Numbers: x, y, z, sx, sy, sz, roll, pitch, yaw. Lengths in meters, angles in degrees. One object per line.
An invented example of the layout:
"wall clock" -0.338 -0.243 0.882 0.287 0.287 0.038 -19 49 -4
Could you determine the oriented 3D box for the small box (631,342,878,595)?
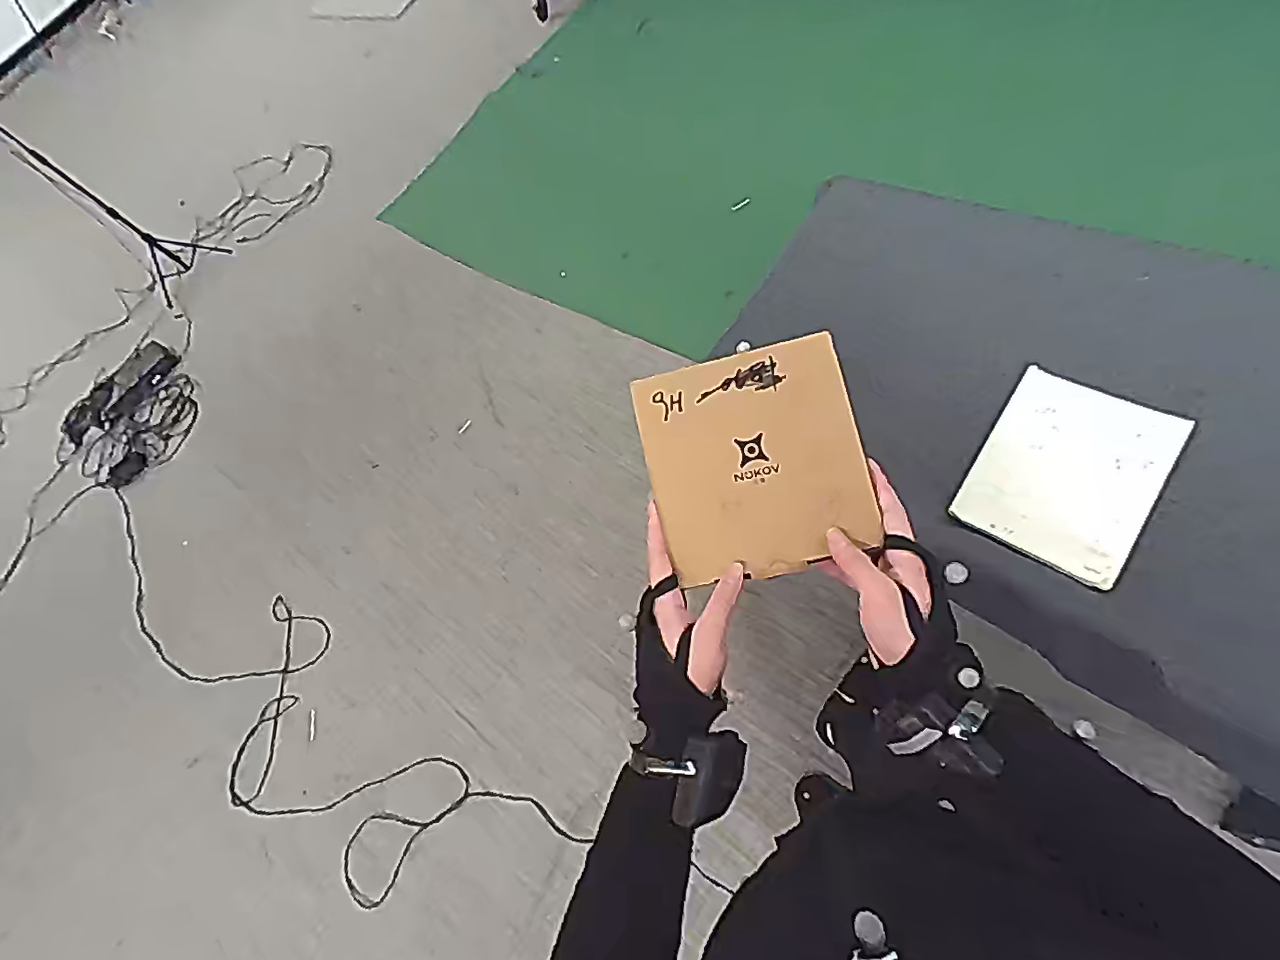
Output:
"small box" 0.098 -0.006 0.508 0.168 0.176 0.179 -13 86 6
